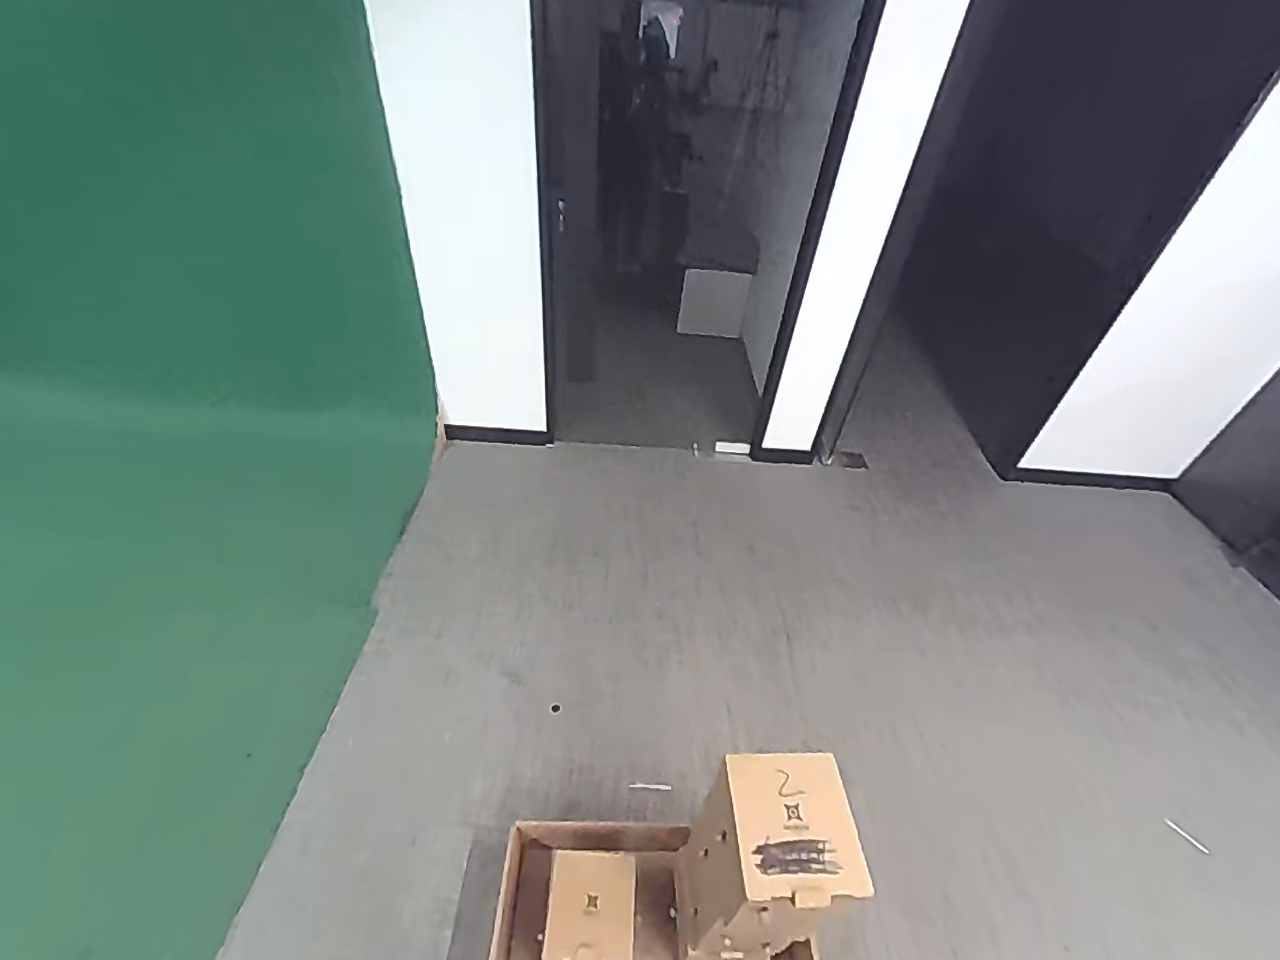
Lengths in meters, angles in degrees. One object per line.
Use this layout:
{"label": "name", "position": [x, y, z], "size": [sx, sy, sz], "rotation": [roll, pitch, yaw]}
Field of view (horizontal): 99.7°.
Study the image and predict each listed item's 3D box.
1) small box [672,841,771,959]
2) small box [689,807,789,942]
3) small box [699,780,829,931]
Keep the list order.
{"label": "small box", "position": [0.160, 0.871, 1.121], "size": [0.168, 0.176, 0.179], "rotation": [-1, 41, -5]}
{"label": "small box", "position": [0.186, 0.734, 1.003], "size": [0.168, 0.176, 0.179], "rotation": [3, 41, -2]}
{"label": "small box", "position": [0.194, 0.628, 0.902], "size": [0.168, 0.176, 0.179], "rotation": [4, 41, -2]}
